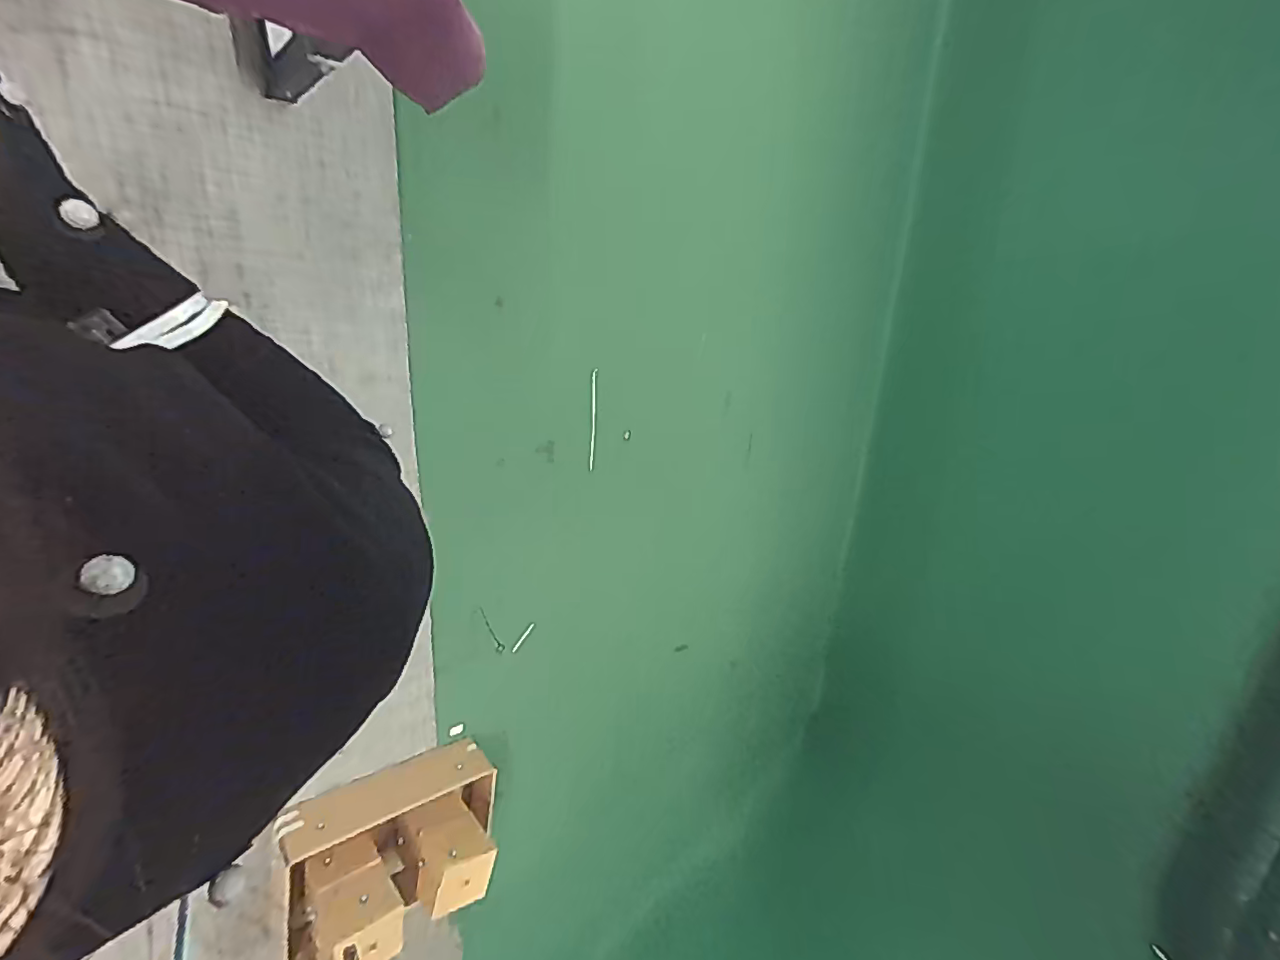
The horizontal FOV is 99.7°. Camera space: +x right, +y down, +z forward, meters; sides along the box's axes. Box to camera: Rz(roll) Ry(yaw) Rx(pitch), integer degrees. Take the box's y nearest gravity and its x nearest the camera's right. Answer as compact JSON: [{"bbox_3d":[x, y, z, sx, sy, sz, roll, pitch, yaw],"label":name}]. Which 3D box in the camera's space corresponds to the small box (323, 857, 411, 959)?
[{"bbox_3d":[-0.747,1.190,1.473,0.179,0.176,0.168,-5,108,-45],"label":"small box"}]

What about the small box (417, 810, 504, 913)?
[{"bbox_3d":[-0.552,1.156,1.658,0.179,0.176,0.168,12,96,-44],"label":"small box"}]
